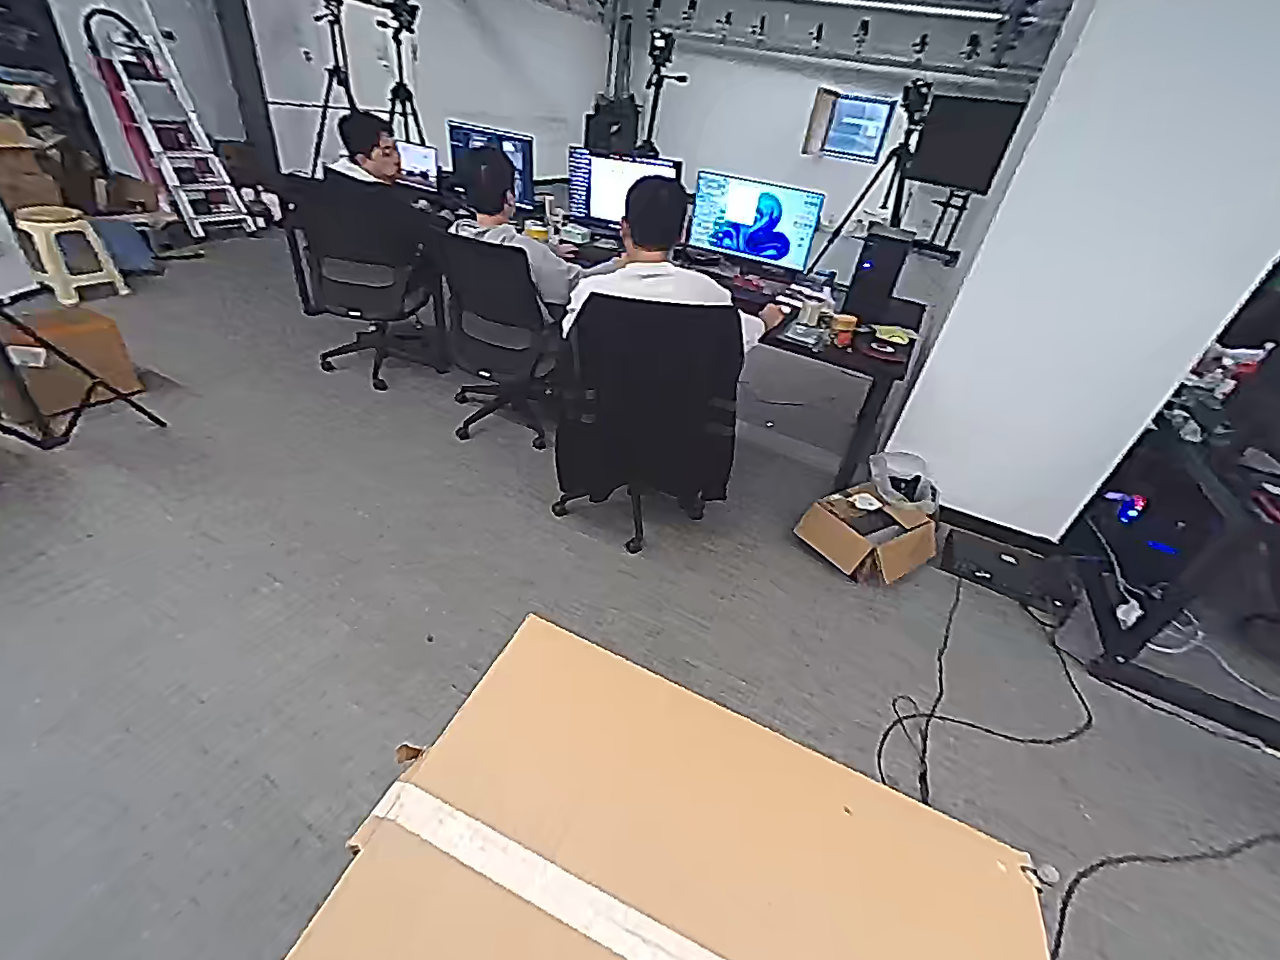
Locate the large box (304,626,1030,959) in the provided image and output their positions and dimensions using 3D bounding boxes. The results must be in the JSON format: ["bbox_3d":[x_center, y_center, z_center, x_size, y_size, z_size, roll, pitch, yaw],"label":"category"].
[{"bbox_3d":[0.002,0.386,0.398,0.408,0.320,0.320,24,40,8],"label":"large box"}]
